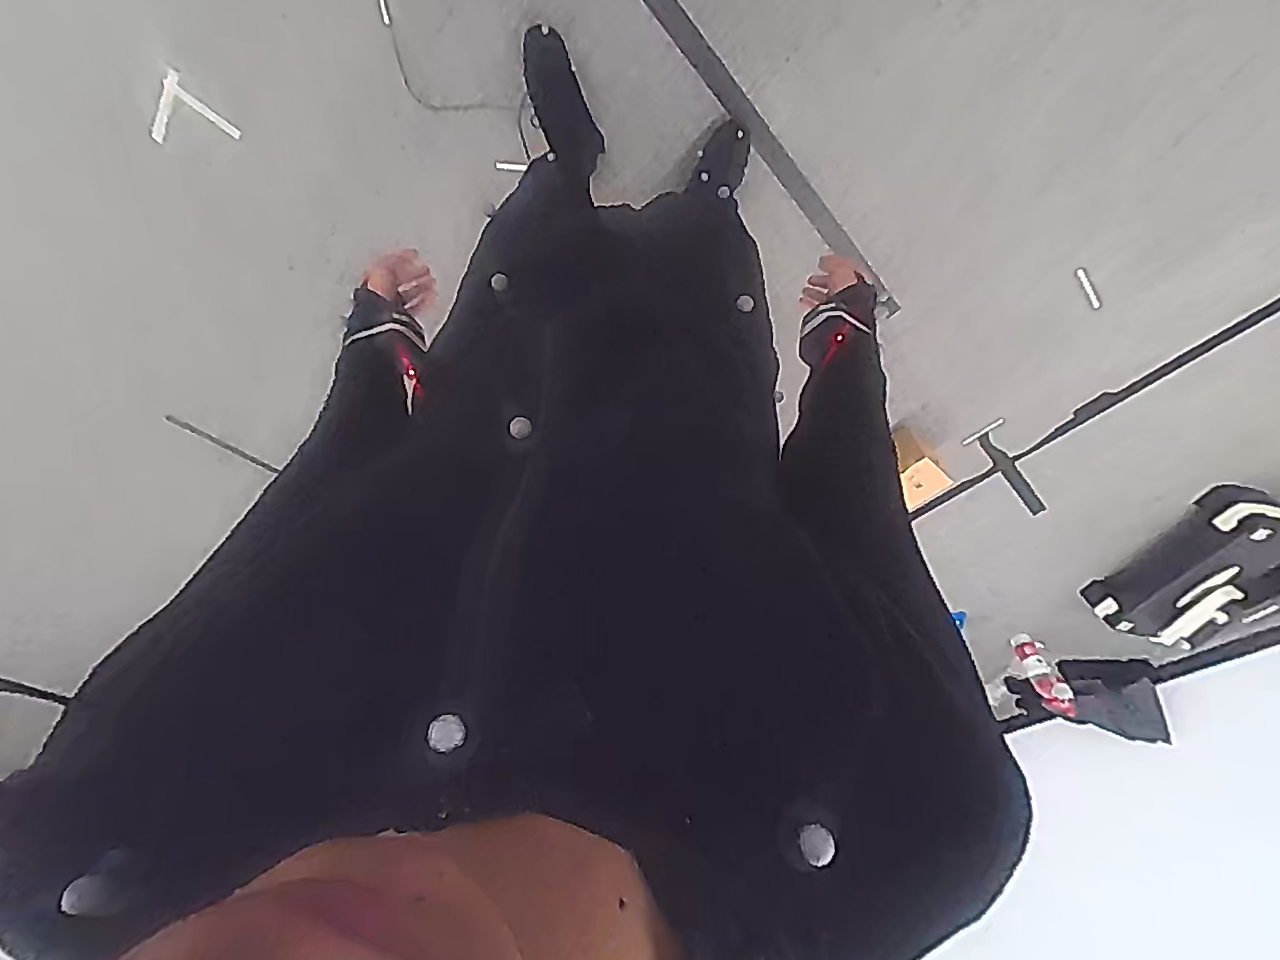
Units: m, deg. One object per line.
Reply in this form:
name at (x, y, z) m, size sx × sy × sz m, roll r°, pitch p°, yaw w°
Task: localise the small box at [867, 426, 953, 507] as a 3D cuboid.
small box at (0.897, -0.048, 1.806) m, size 0.179 × 0.176 × 0.168 m, roll 33°, pitch 124°, yaw -24°
